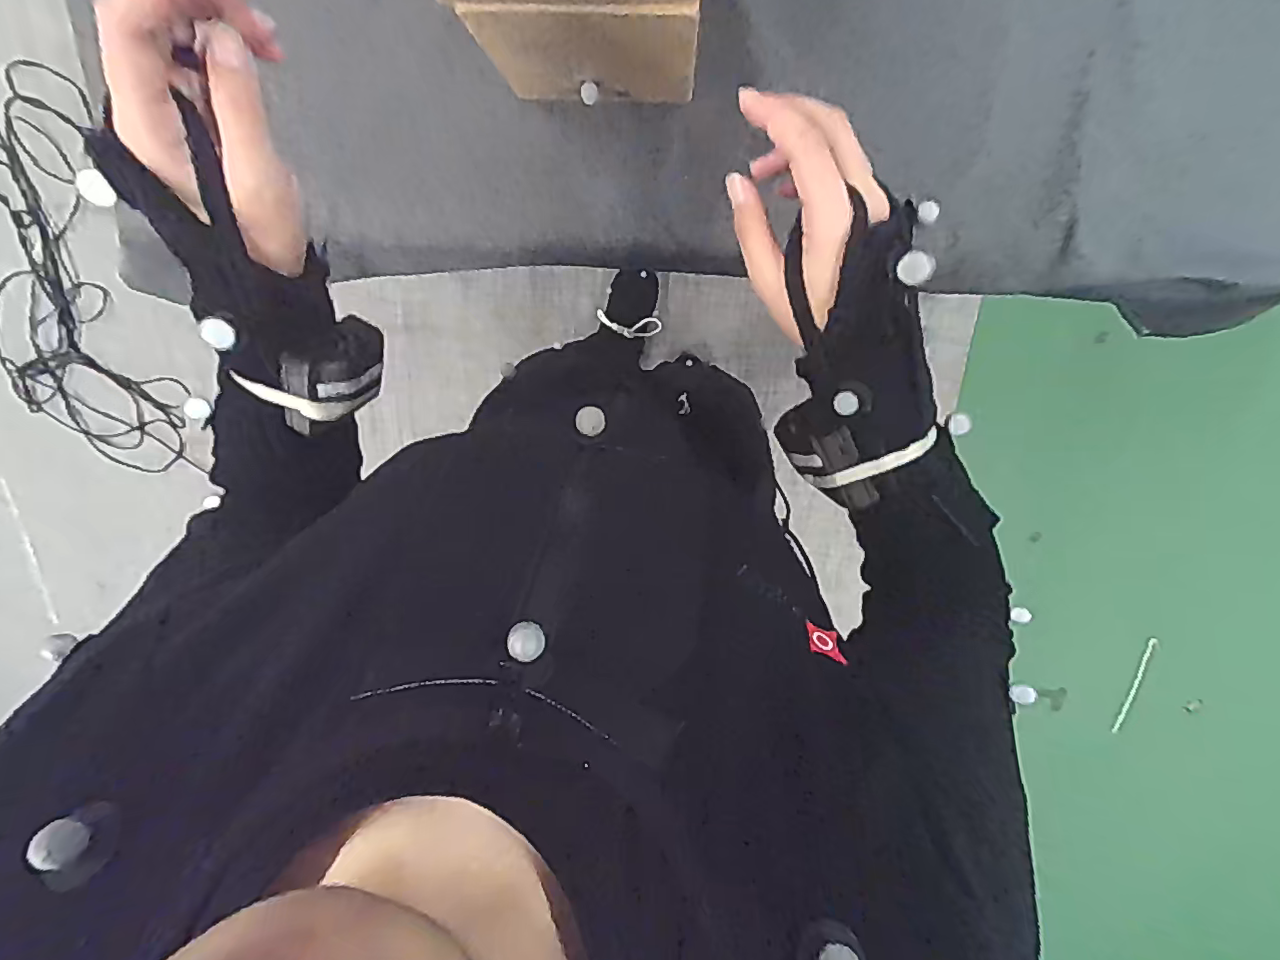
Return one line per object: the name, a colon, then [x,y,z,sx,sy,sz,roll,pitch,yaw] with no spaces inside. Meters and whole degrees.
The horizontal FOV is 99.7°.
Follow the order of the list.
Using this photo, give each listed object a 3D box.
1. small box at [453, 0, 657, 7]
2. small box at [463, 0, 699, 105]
small box: [-0.050,-0.368,0.258,0.179,0.176,0.168,2,107,4]
small box: [-0.034,-0.419,0.411,0.168,0.176,0.179,4,109,3]
